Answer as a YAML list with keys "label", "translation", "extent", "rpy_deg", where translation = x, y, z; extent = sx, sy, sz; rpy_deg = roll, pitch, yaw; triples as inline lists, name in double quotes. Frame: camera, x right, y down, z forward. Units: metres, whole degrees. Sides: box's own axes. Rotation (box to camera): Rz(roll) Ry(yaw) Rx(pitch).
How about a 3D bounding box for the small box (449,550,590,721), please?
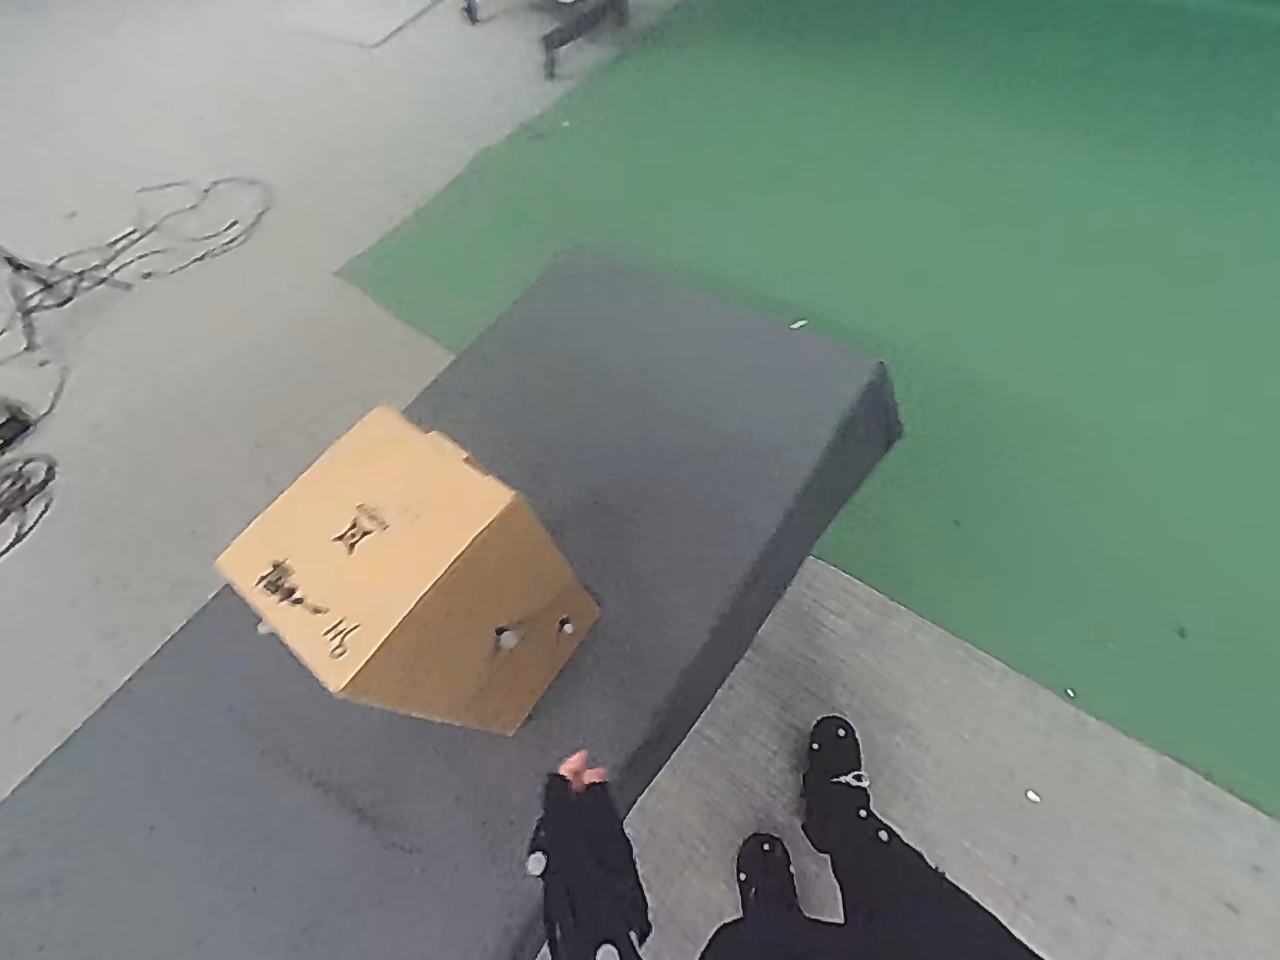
- label: "small box"
  translation: [-0.175, 0.151, 0.623]
  extent: [0.168, 0.176, 0.179]
  rpy_deg: [28, 70, 22]

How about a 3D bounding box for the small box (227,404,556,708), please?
- label: "small box"
  translation: [-0.193, 0.073, 0.480]
  extent: [0.168, 0.176, 0.179]
  rpy_deg: [31, 69, 23]
